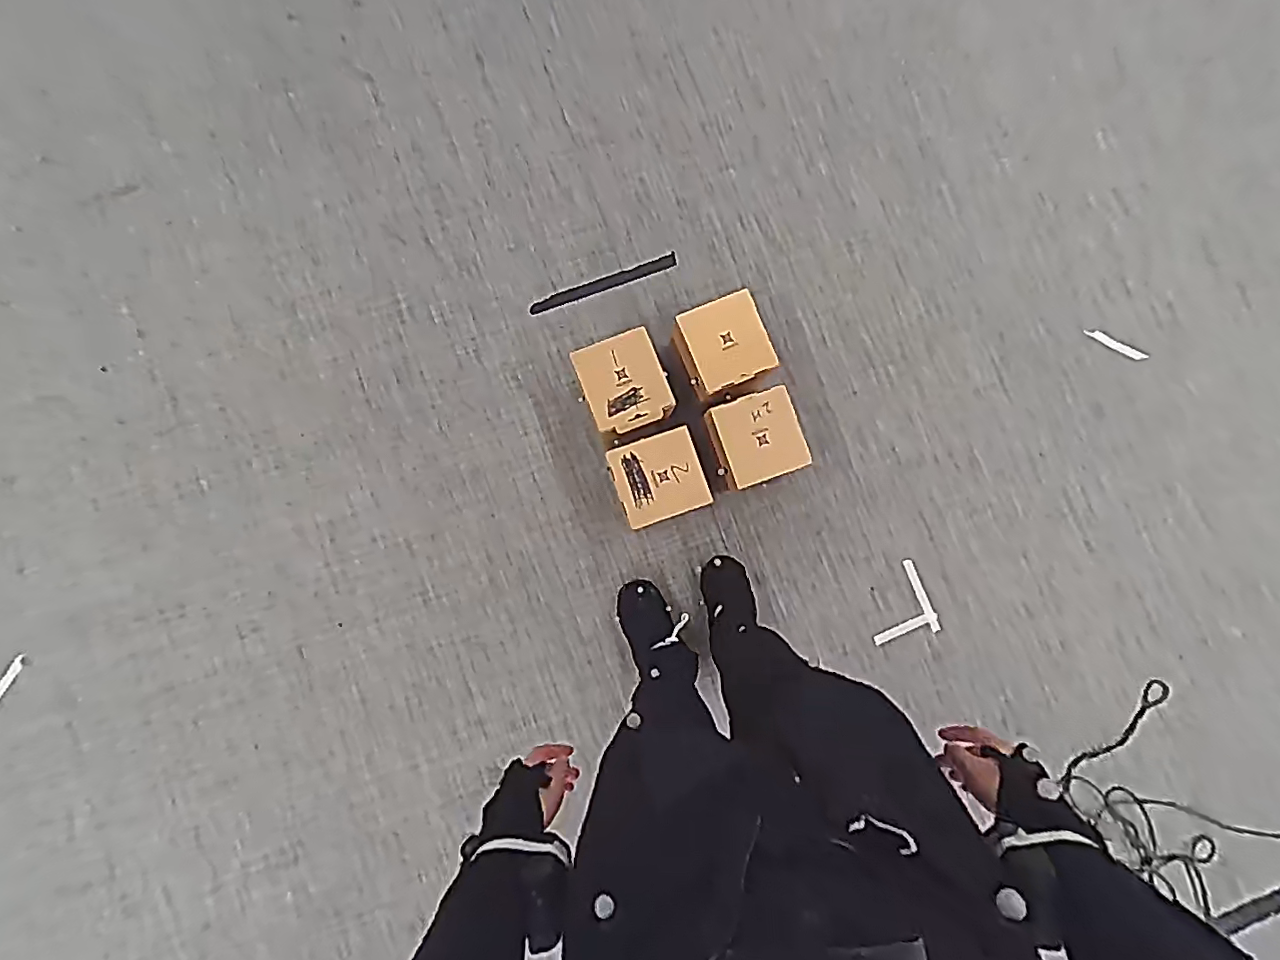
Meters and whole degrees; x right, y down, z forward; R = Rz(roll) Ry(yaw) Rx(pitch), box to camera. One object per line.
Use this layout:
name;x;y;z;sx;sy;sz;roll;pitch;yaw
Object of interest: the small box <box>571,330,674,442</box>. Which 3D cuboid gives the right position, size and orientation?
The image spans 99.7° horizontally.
small box;-0.037;-0.189;1.161;0.168;0.176;0.179;-21;85;-5
